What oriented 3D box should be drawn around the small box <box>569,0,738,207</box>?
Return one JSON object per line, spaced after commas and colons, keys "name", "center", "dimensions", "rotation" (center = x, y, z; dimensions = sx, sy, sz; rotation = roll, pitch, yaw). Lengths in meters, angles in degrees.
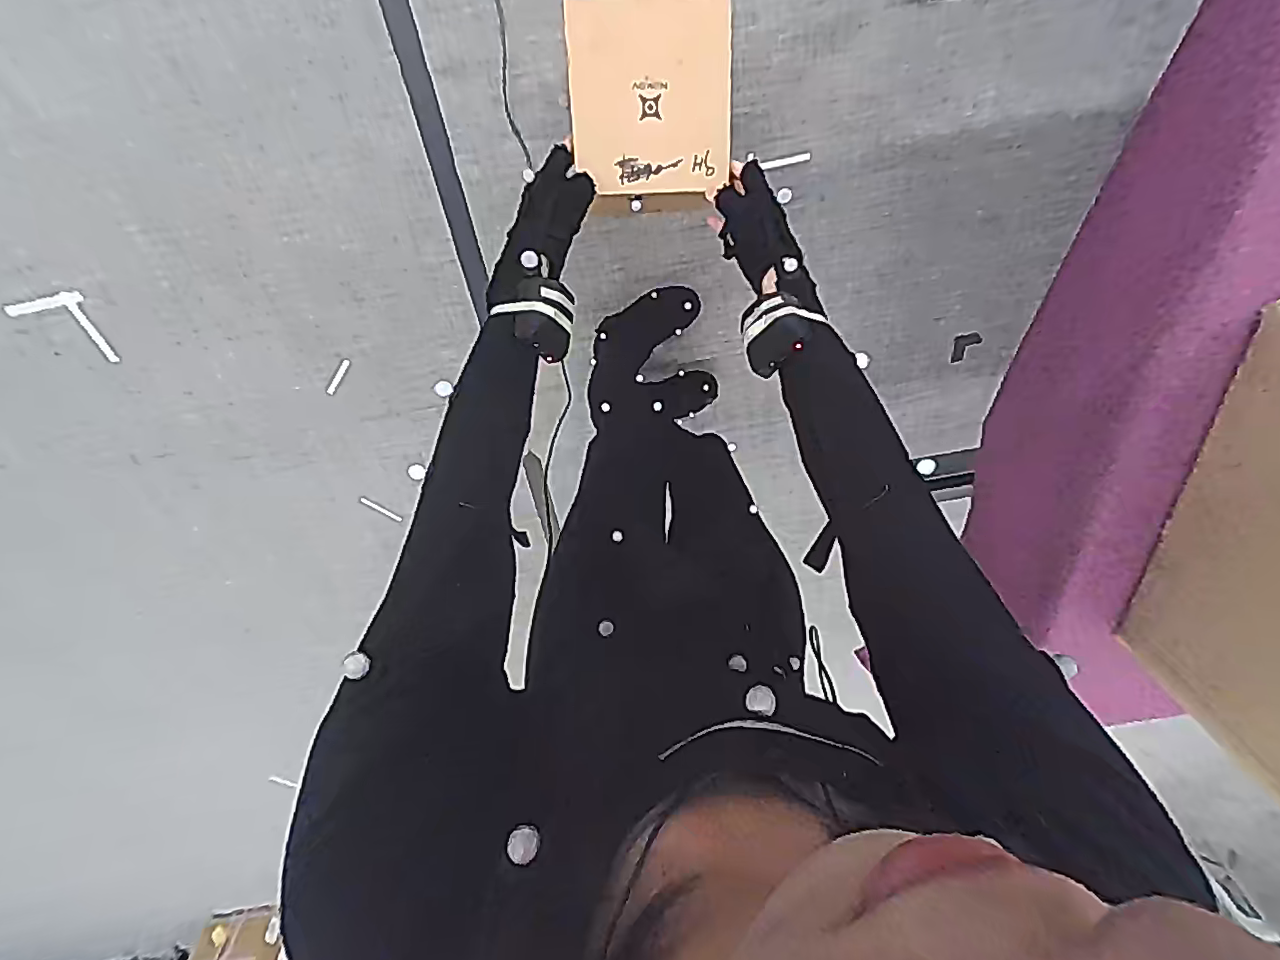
{"name": "small box", "center": [0.007, -0.419, 0.610], "dimensions": [0.168, 0.176, 0.179], "rotation": [-4, 111, -4]}
